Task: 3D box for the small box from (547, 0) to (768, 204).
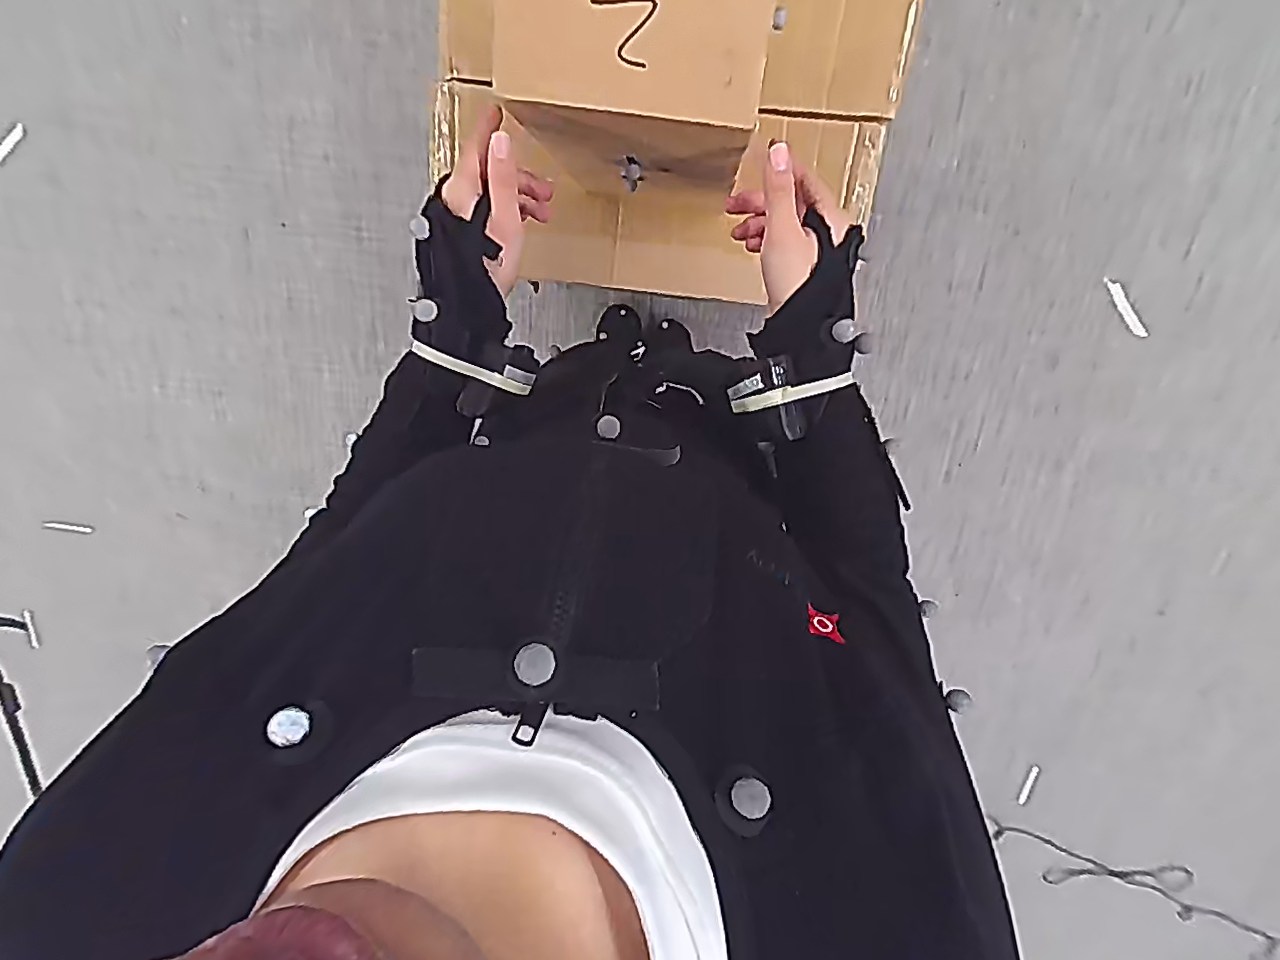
[{"bbox_3d":[0.019,-0.385,0.535,0.179,0.176,0.168,9,109,2],"label":"small box"}]
